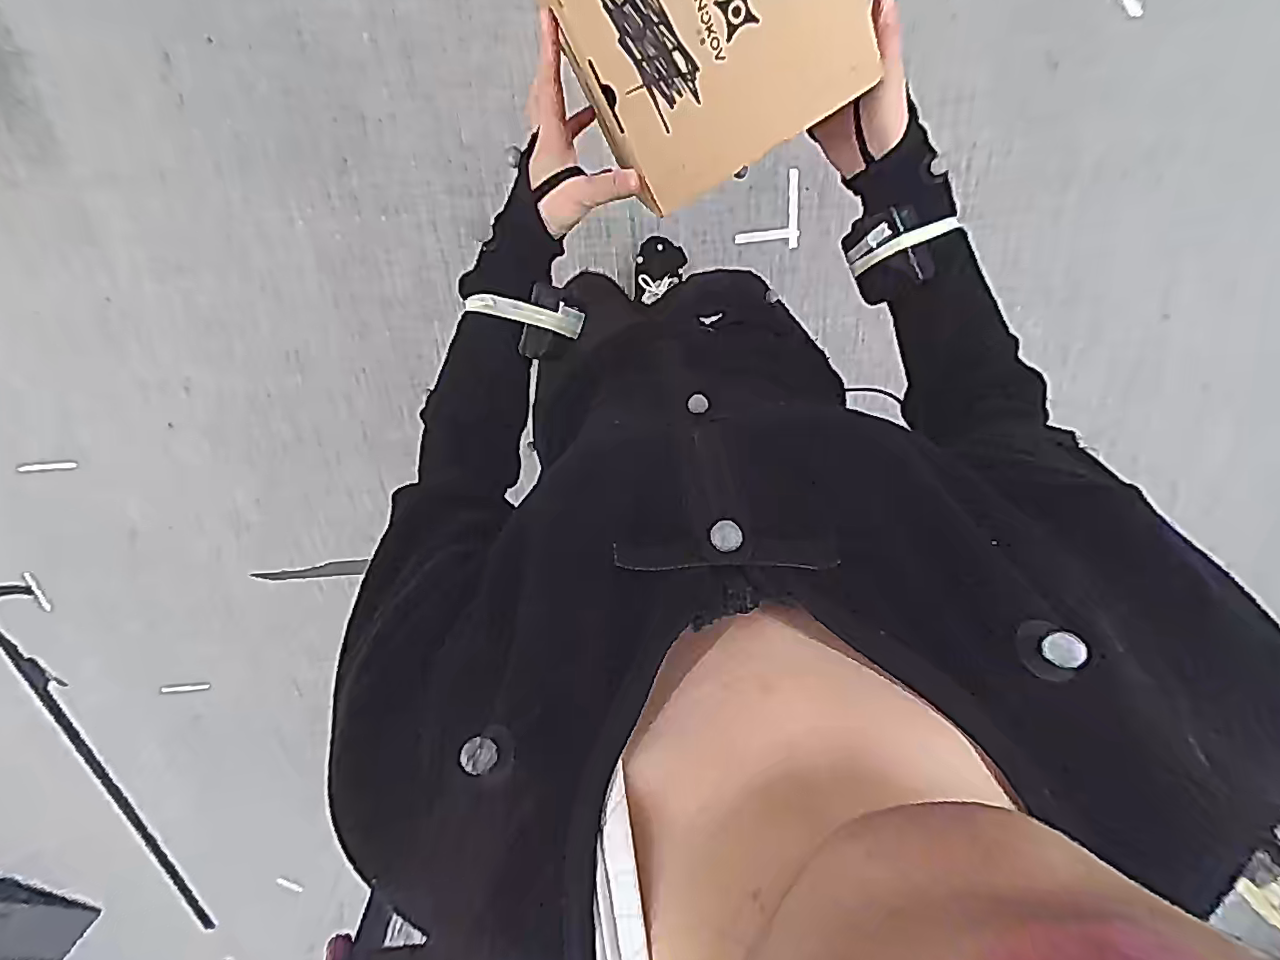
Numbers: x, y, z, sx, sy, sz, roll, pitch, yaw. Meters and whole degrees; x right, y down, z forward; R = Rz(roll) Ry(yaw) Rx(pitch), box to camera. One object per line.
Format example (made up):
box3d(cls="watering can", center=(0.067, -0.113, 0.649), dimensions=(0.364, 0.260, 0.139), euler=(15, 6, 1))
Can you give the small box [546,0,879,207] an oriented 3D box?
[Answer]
box3d(cls="small box", center=(0.039, -0.335, 0.402), dimensions=(0.179, 0.176, 0.168), euler=(-29, 124, 9))
